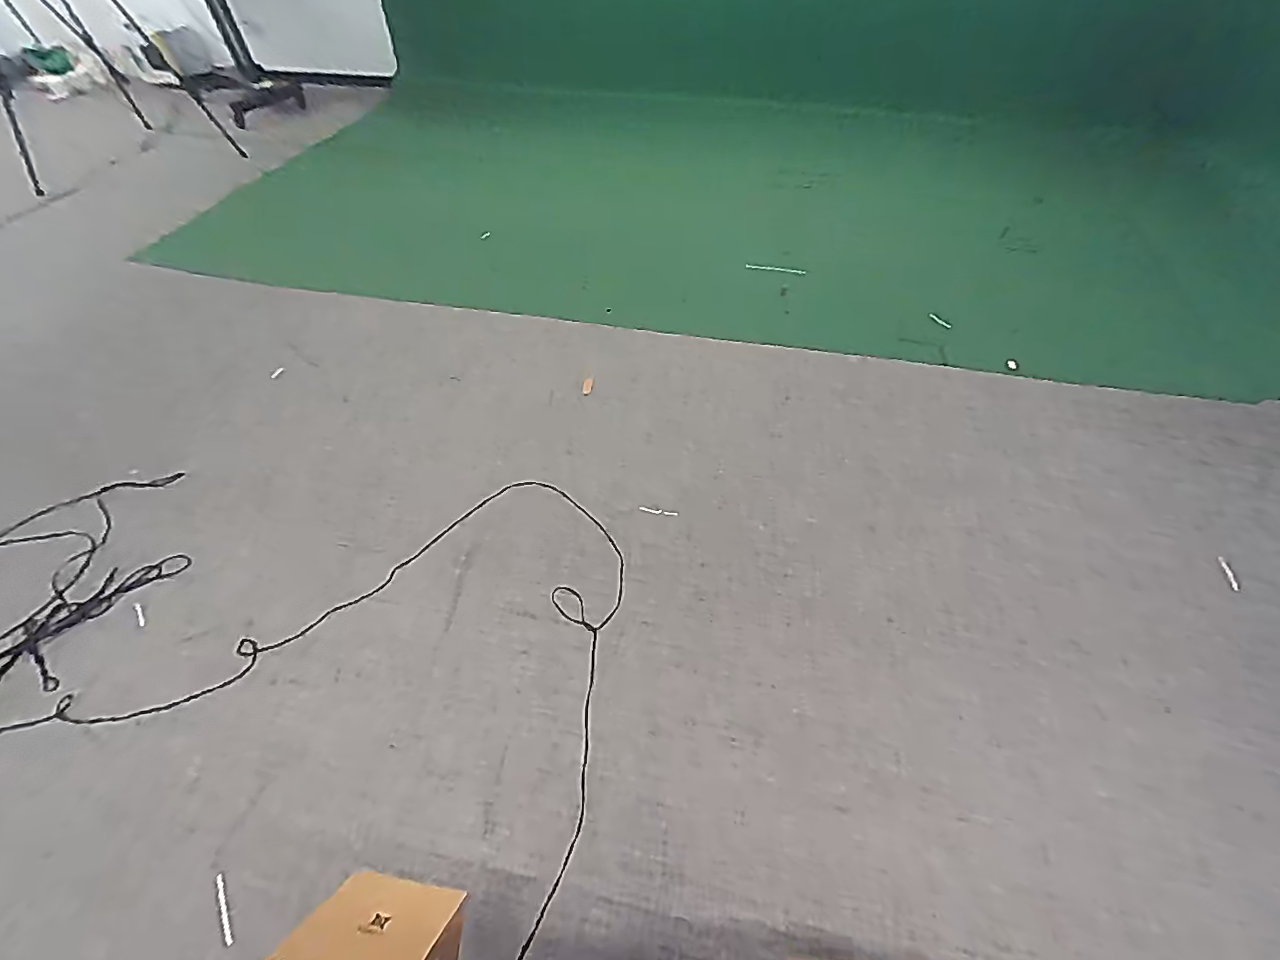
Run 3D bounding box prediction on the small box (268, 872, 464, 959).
[{"bbox_3d":[-0.342,0.637,0.667,0.168,0.179,0.176,7,84,6],"label":"small box"}]
